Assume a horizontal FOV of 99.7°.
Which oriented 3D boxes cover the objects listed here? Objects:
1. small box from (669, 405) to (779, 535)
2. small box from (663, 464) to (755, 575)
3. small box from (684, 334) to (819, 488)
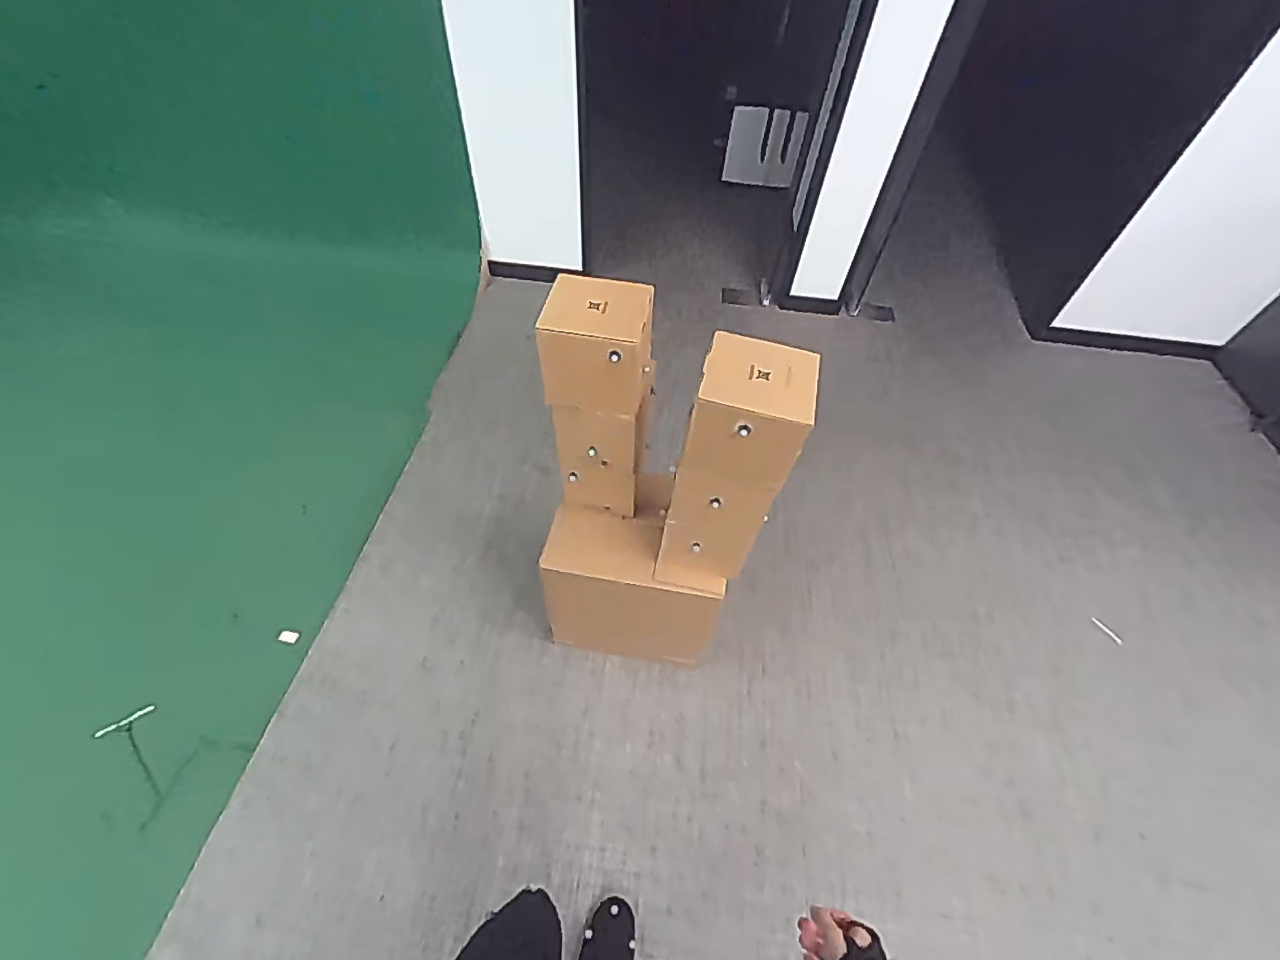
[{"bbox_3d":[0.161,-0.015,1.025,0.179,0.176,0.168,11,53,5],"label":"small box"},{"bbox_3d":[0.148,0.085,1.154,0.179,0.176,0.168,10,54,5],"label":"small box"},{"bbox_3d":[0.178,-0.109,0.893,0.179,0.176,0.168,15,54,6],"label":"small box"}]
